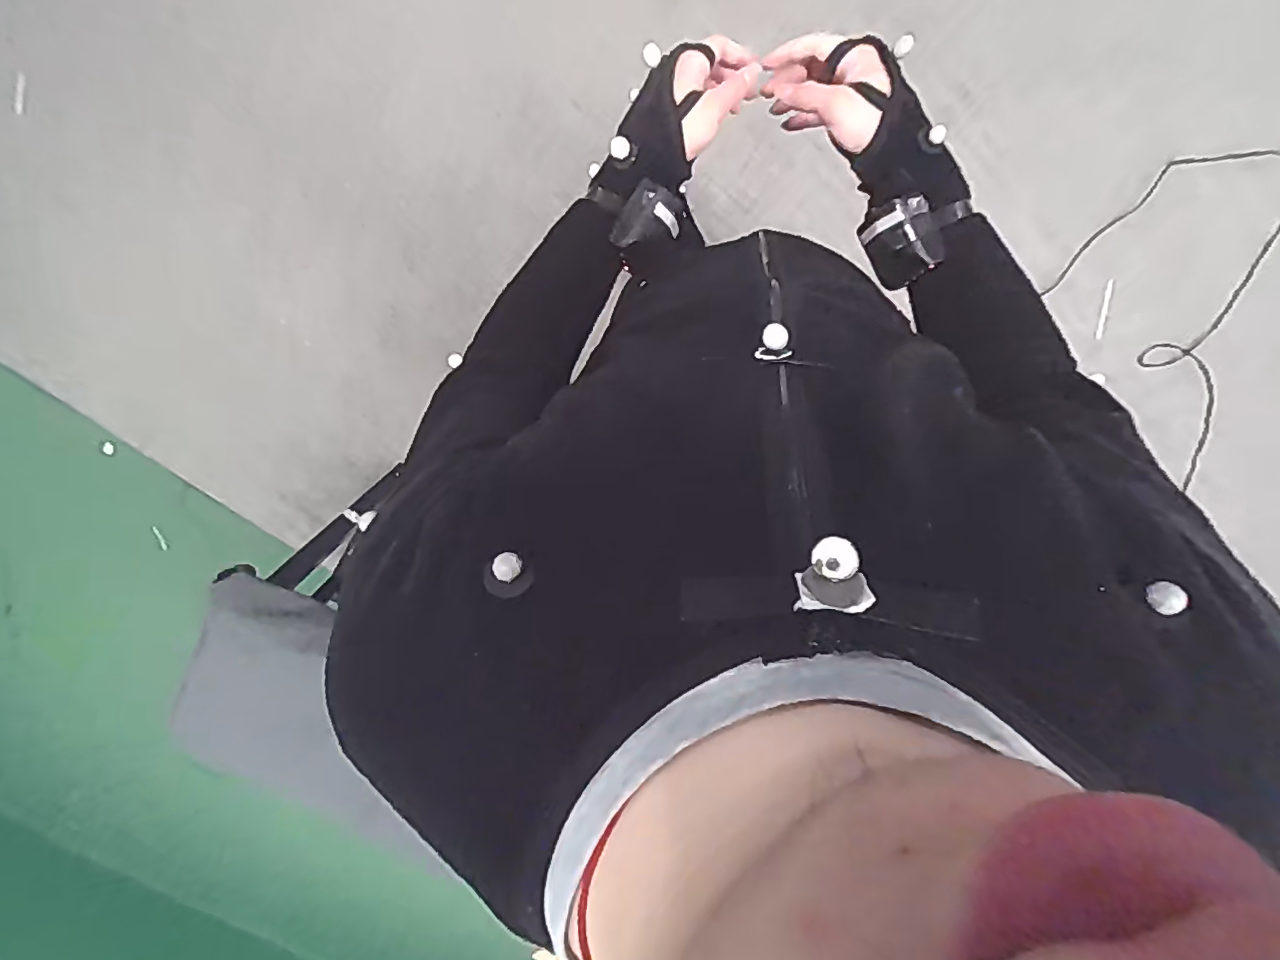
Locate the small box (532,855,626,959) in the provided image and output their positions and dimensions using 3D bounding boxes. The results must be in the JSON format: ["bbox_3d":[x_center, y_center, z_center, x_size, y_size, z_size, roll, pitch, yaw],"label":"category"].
[{"bbox_3d":[-0.149,1.111,1.391,0.168,0.176,0.179,34,116,-10],"label":"small box"}]
